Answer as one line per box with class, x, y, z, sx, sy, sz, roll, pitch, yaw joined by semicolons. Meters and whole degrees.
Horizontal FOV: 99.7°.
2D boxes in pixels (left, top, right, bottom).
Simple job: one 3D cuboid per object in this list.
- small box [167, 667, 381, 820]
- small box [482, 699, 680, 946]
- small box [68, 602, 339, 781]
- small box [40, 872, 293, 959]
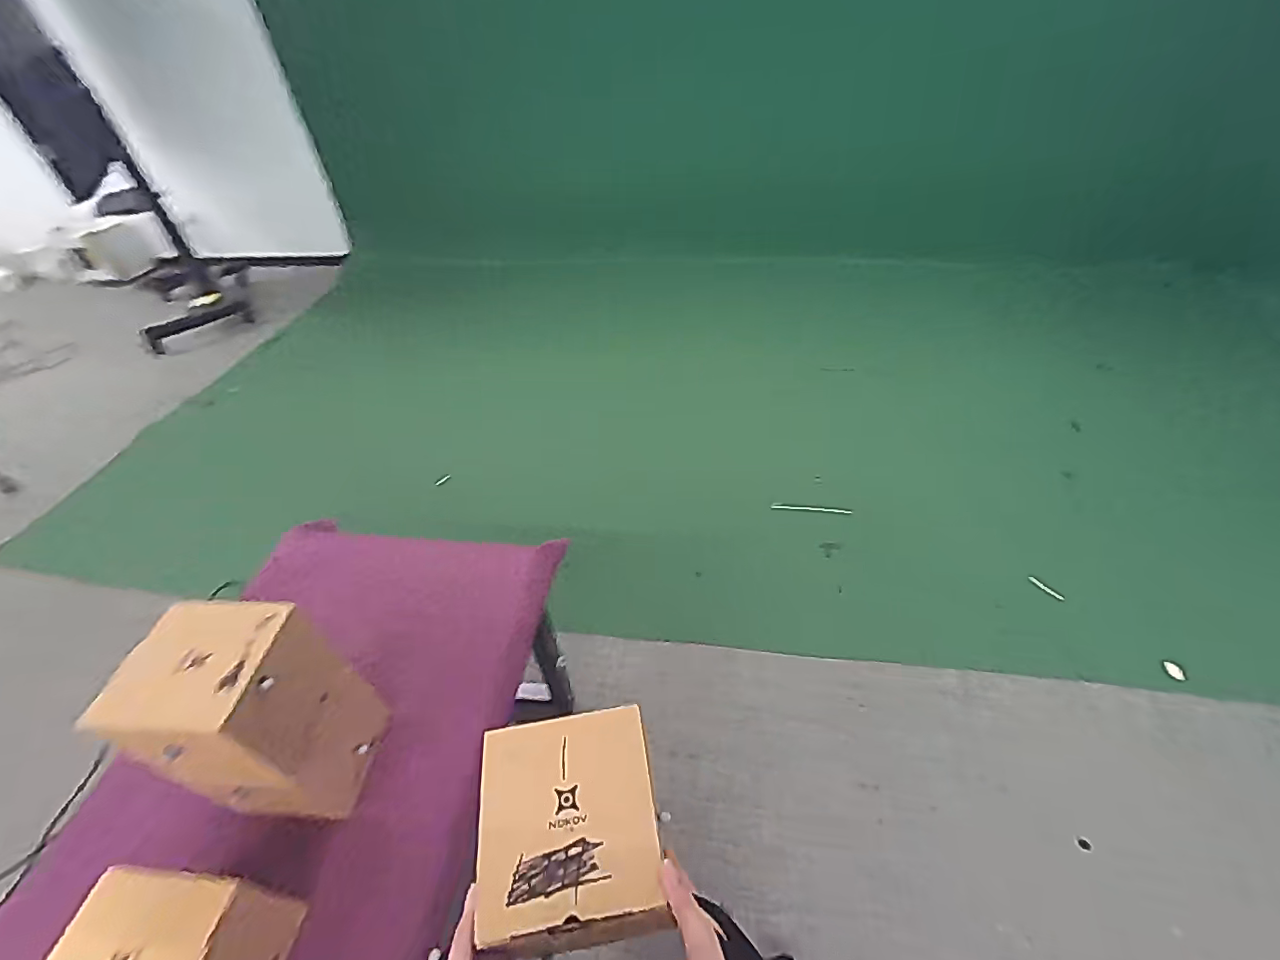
small box;-0.531;0.395;0.816;0.179;0.176;0.168;0;44;4
small box;-0.054;0.356;0.559;0.168;0.176;0.179;-9;45;-3
small box;-0.540;0.276;0.703;0.179;0.176;0.168;-1;44;5
small box;-0.559;0.580;0.626;0.179;0.176;0.168;2;44;5
